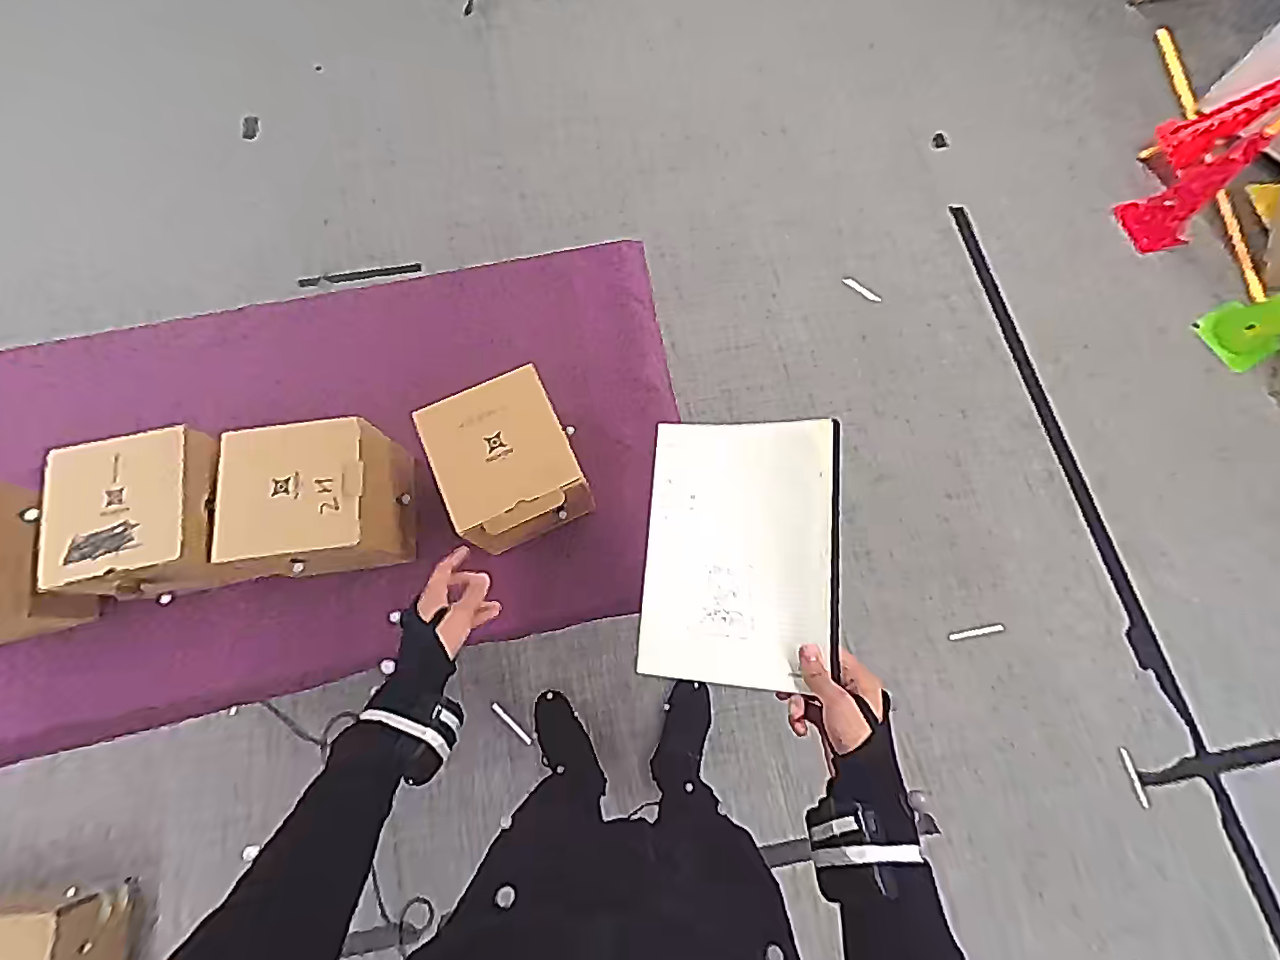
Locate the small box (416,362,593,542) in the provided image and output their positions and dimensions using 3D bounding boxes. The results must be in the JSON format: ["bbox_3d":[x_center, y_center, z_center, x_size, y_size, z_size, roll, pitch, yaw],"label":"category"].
[{"bbox_3d":[-0.174,-0.025,0.744,0.168,0.176,0.179,-24,75,-7],"label":"small box"}]
